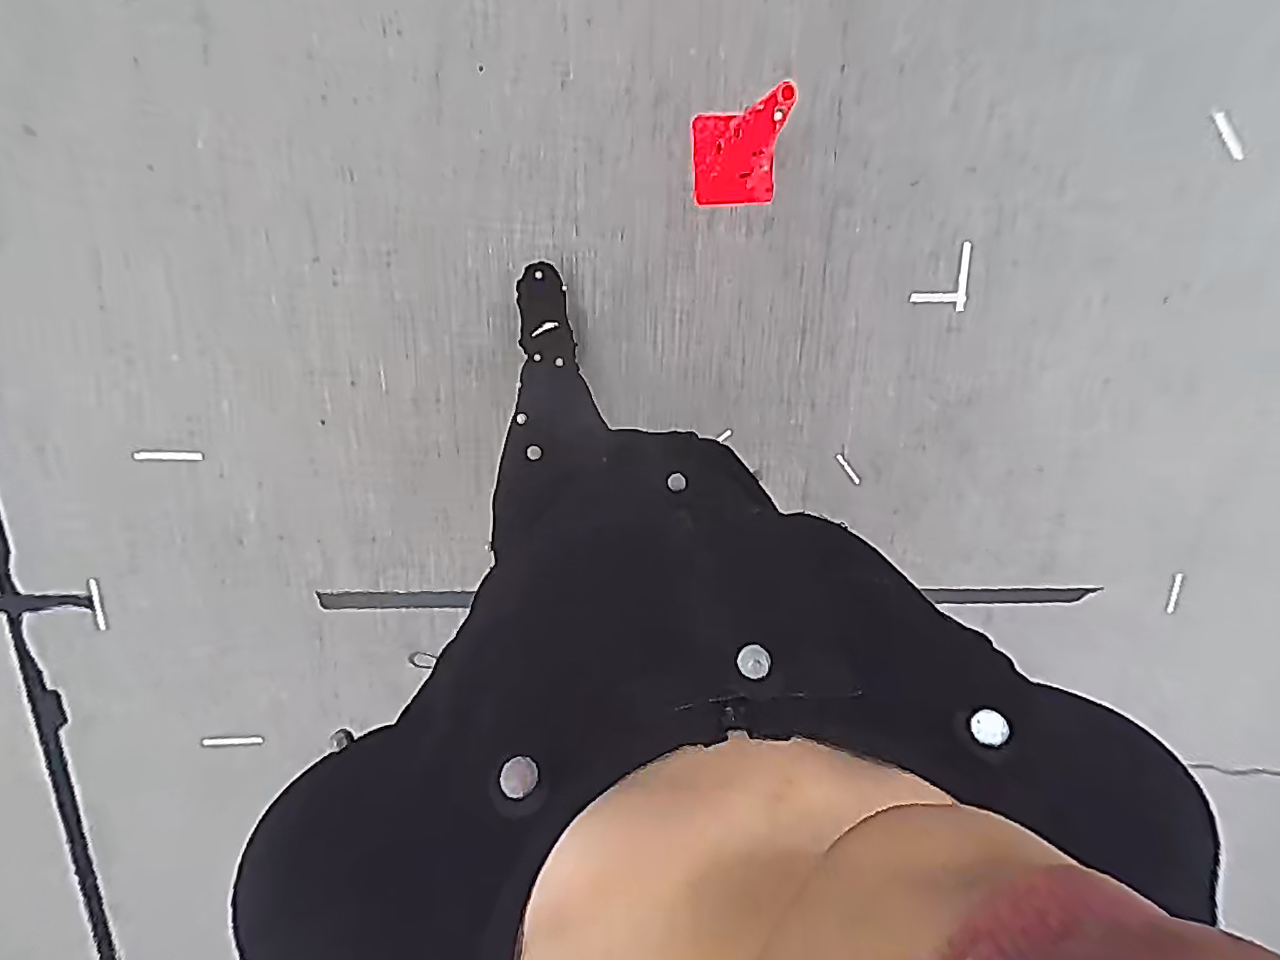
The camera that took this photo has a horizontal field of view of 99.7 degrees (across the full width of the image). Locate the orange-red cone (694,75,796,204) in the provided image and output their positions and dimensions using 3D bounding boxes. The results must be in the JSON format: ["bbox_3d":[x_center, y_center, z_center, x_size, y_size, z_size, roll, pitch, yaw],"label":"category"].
[{"bbox_3d":[0.243,-0.734,1.130,0.199,0.360,0.198,-4,102,-4],"label":"orange-red cone"}]
